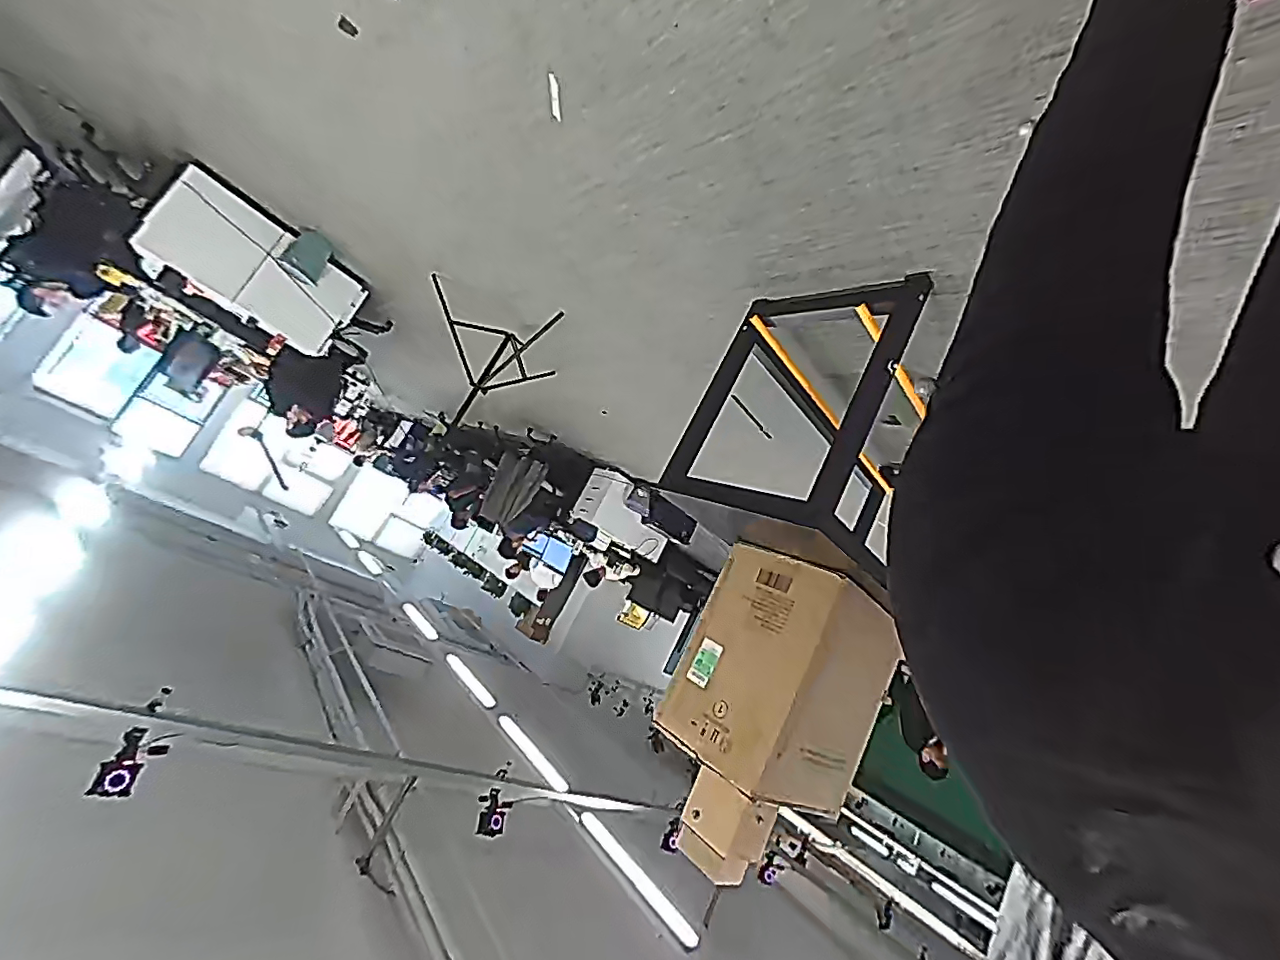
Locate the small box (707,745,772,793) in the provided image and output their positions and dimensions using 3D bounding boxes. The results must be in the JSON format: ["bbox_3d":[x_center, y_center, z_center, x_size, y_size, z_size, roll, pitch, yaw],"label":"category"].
[{"bbox_3d":[0.316,1.013,1.797,0.168,0.176,0.179,38,165,-37],"label":"small box"}]

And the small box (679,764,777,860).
[{"bbox_3d":[0.246,0.910,1.499,0.168,0.176,0.179,34,166,-36],"label":"small box"}]

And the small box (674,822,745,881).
[{"bbox_3d":[0.248,1.155,1.751,0.179,0.176,0.168,15,163,48],"label":"small box"}]
